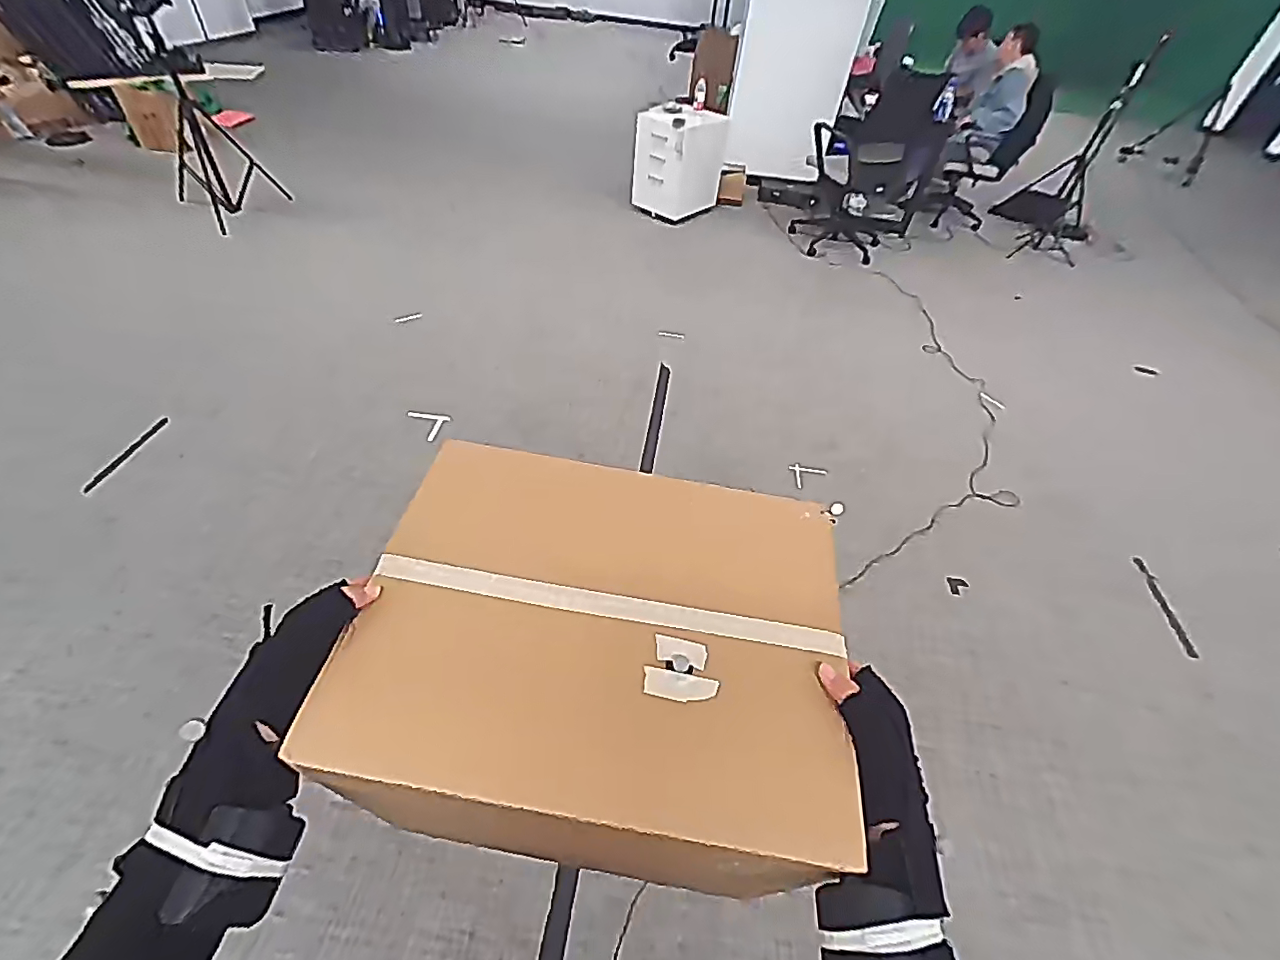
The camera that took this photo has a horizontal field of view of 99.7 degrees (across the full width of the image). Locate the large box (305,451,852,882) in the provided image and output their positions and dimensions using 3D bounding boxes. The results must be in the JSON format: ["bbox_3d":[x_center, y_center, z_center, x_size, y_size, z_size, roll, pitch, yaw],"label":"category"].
[{"bbox_3d":[-0.041,0.208,0.589,0.408,0.320,0.320,10,51,1],"label":"large box"}]
